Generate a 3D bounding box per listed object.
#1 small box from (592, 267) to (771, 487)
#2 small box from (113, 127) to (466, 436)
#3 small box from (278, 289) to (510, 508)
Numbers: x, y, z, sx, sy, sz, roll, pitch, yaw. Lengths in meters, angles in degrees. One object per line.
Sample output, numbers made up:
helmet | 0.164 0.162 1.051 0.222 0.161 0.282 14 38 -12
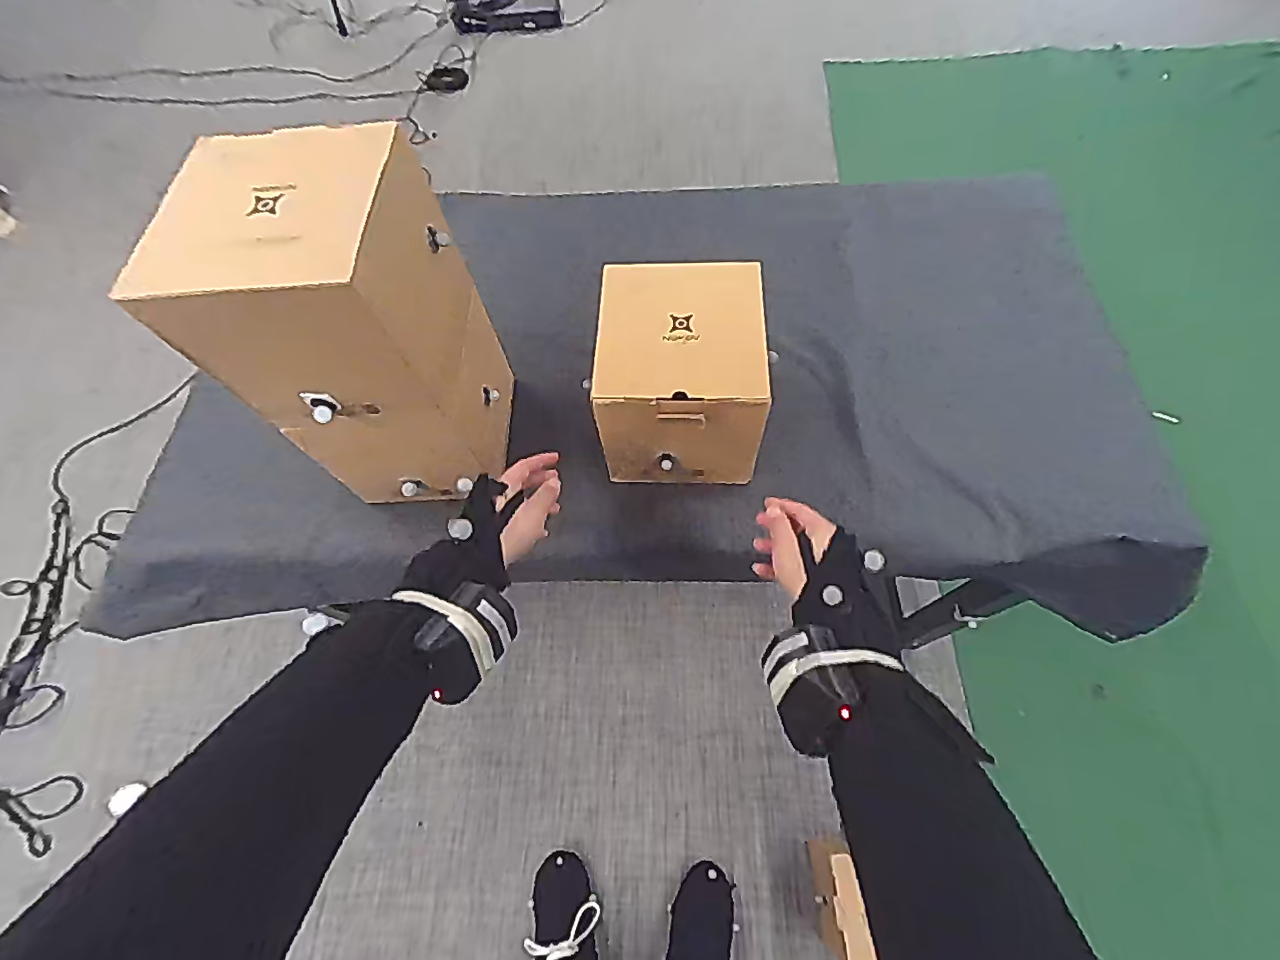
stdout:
small box | 0.043 -0.108 0.596 0.168 0.176 0.179 0 63 4
small box | -0.259 -0.157 0.456 0.168 0.176 0.179 -4 64 3
small box | -0.249 -0.084 0.601 0.168 0.176 0.179 -3 64 2
